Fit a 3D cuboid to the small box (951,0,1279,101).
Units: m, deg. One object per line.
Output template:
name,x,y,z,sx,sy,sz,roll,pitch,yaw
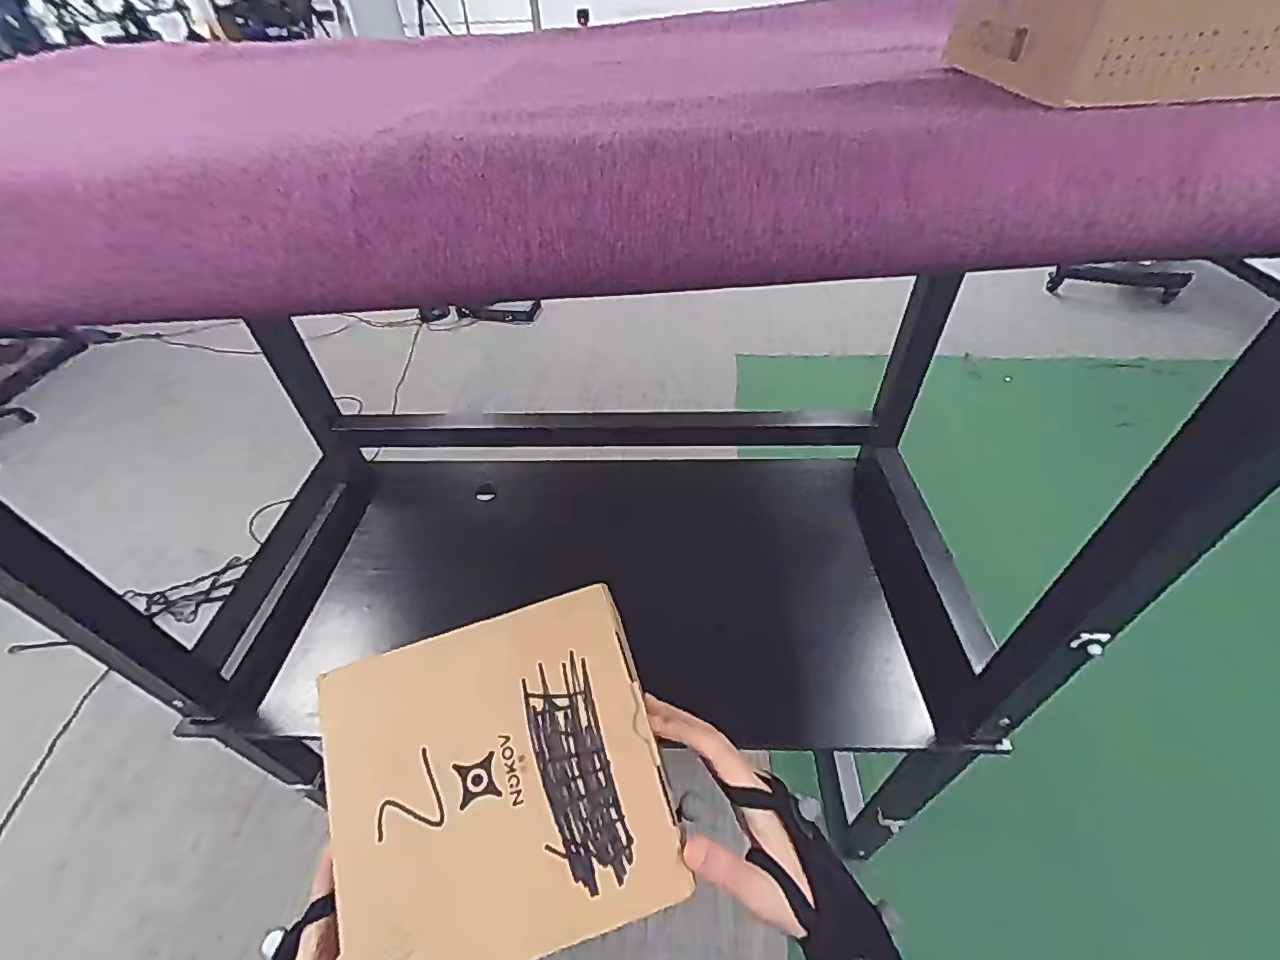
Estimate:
small box,0.291,-0.301,0.260,0.179,0.176,0.168,0,44,5
